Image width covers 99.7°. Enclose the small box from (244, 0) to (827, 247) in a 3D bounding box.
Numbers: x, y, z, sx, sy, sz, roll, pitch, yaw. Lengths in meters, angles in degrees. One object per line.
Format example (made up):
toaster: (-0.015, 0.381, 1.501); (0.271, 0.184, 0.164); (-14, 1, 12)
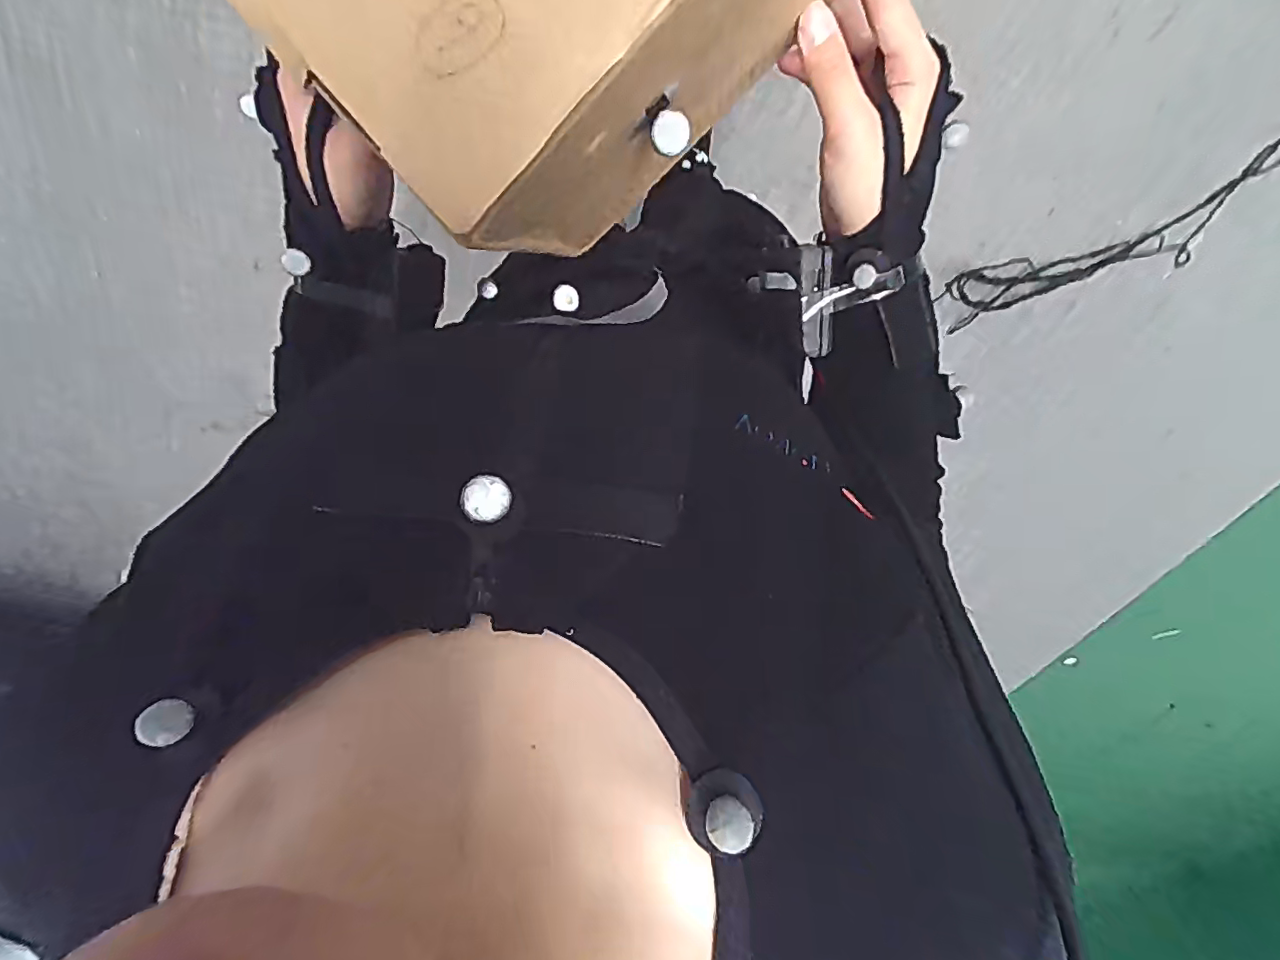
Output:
small box: (-0.030, -0.207, 0.195); (0.179, 0.176, 0.168); (-37, 103, 20)
